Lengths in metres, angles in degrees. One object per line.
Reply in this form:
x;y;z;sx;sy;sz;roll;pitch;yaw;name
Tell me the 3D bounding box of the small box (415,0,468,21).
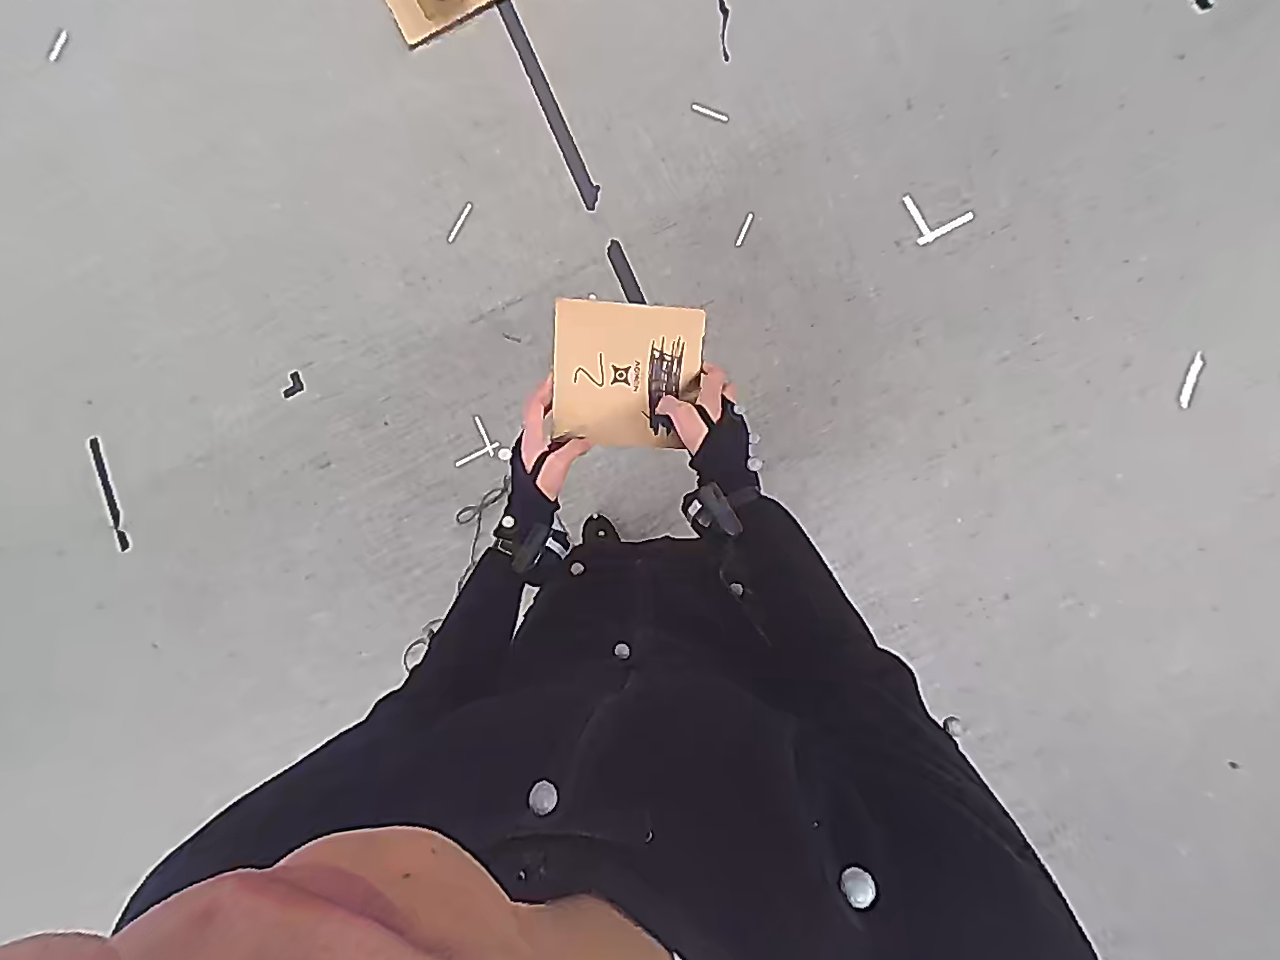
-0.672;-1.625;1.709;0.168;0.176;0.179;-27;85;4;small box
